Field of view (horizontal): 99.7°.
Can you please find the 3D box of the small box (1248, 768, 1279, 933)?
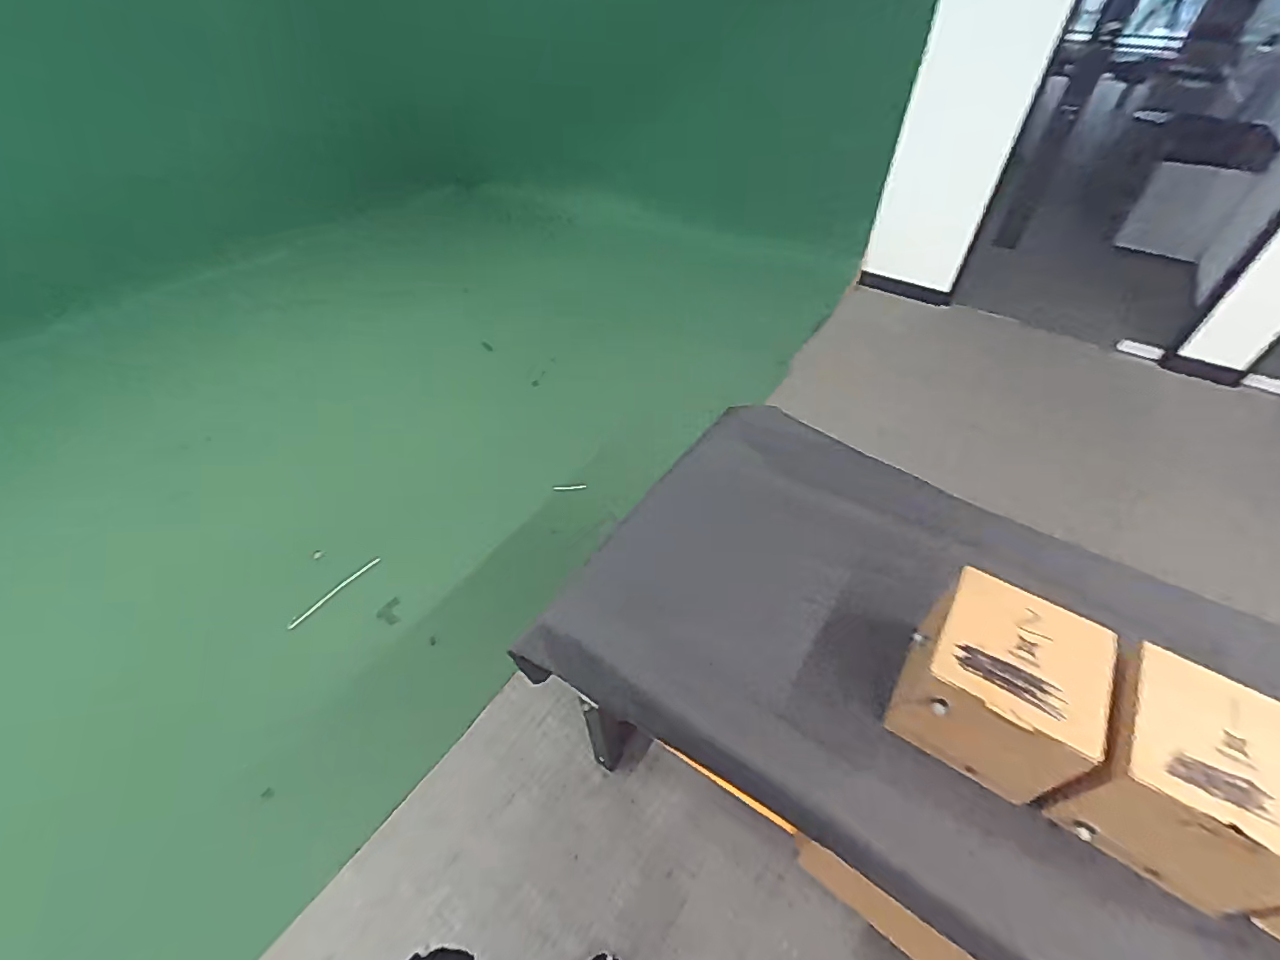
[{"bbox_3d":[0.764,0.393,0.530,0.168,0.176,0.179,28,54,24],"label":"small box"}]
